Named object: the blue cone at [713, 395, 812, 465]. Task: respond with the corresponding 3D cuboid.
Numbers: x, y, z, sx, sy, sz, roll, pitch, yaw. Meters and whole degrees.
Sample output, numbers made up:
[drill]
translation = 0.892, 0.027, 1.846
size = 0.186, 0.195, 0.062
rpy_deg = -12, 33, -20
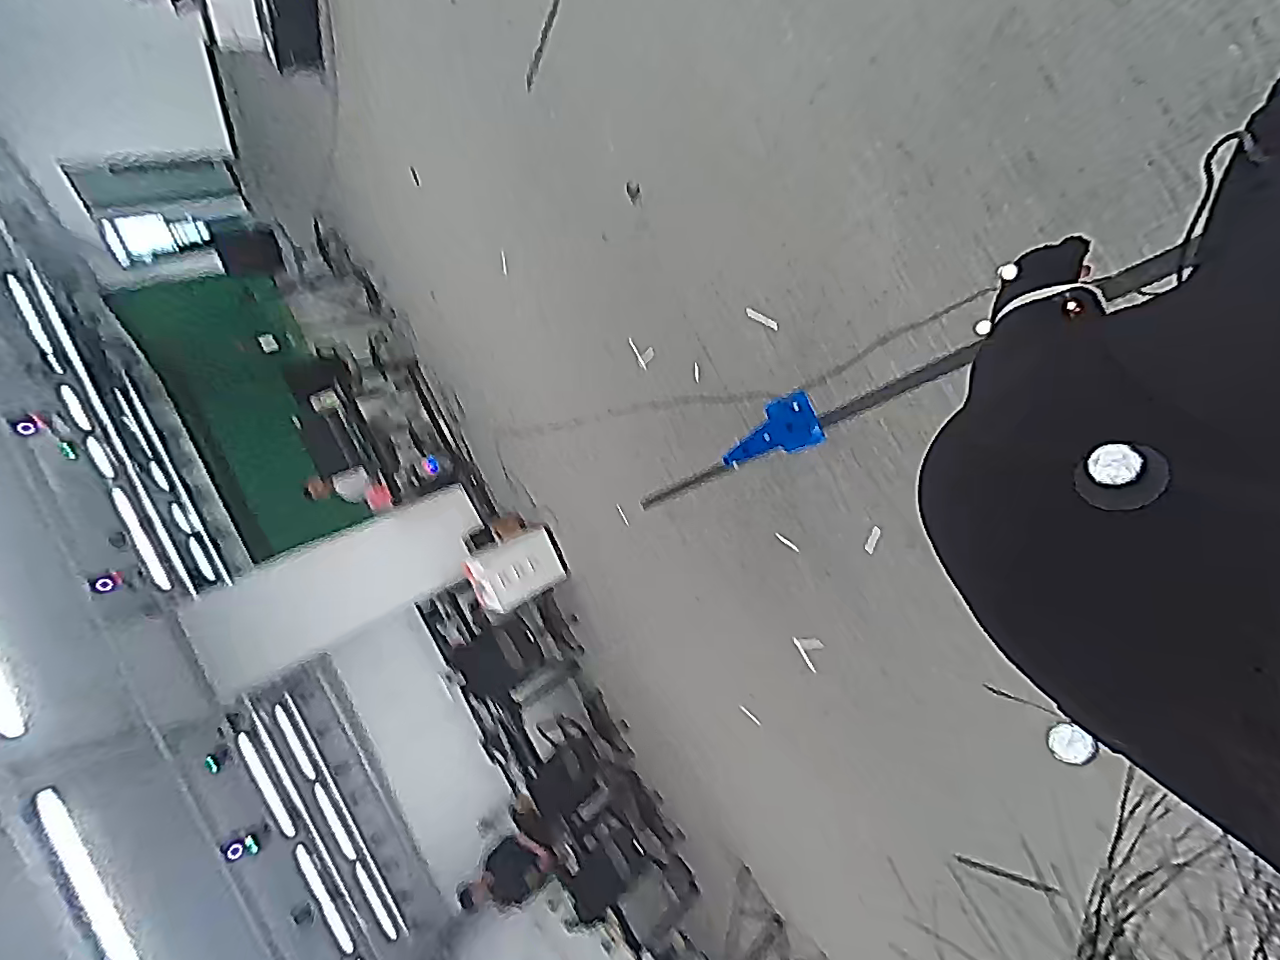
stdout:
[blue cone]
translation = 0.386, -0.132, 1.845
size = 0.192, 0.380, 0.193
rpy_deg = -23, 93, 59
